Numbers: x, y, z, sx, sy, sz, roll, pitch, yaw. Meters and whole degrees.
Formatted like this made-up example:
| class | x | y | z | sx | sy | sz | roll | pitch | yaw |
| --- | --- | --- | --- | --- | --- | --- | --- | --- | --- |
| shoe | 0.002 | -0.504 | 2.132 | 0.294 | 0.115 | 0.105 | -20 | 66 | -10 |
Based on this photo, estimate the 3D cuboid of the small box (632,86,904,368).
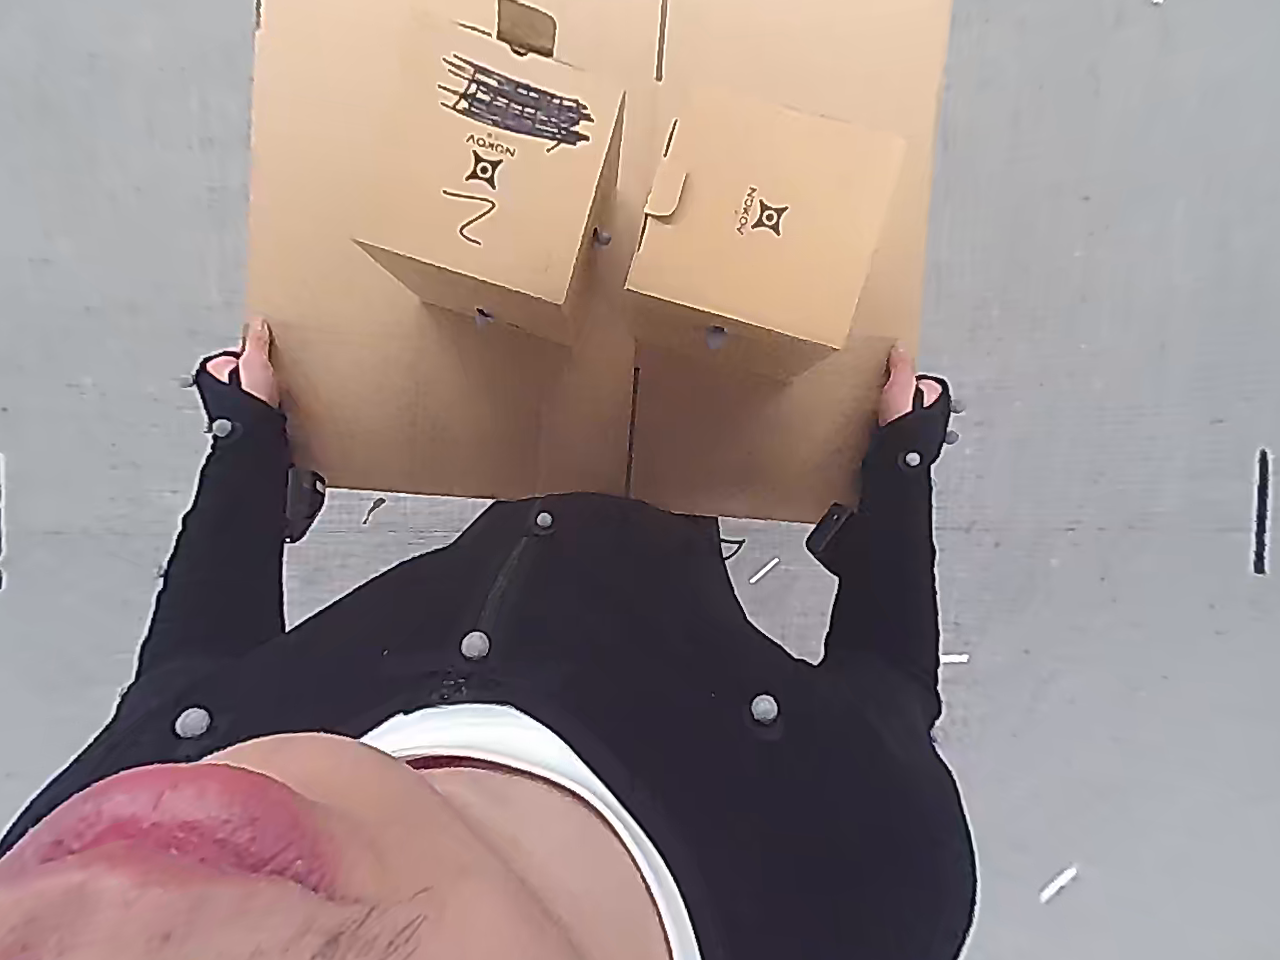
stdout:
| class | x | y | z | sx | sy | sz | roll | pitch | yaw |
| --- | --- | --- | --- | --- | --- | --- | --- | --- | --- |
| small box | 0.104 | -0.211 | 0.504 | 0.179 | 0.176 | 0.168 | 17 | 93 | 3 |
